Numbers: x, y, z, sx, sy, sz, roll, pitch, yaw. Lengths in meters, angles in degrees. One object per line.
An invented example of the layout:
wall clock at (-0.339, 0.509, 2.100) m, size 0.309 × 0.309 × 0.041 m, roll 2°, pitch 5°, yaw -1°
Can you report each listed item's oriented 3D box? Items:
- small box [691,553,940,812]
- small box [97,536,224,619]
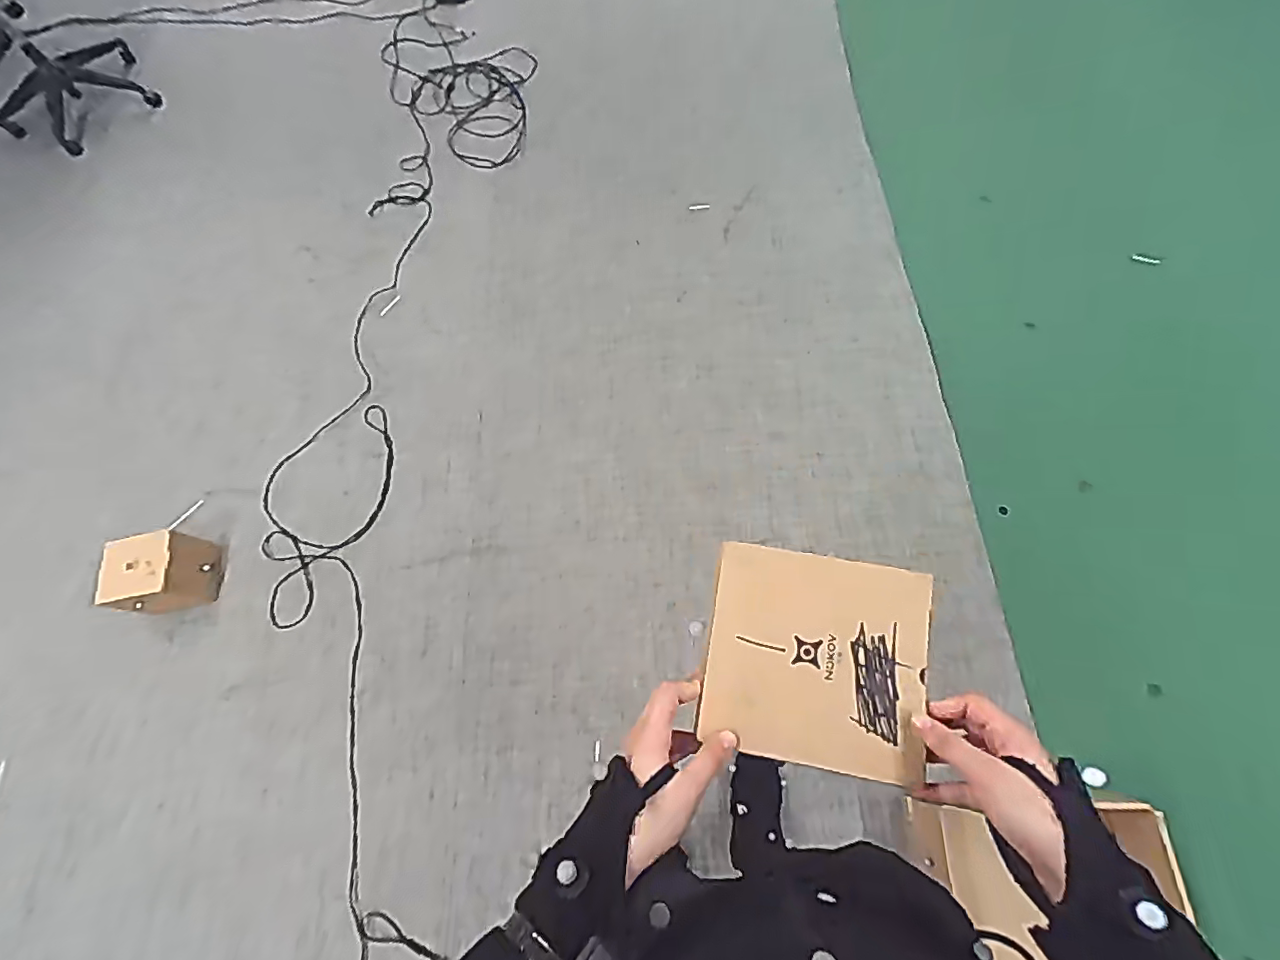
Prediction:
small box at (0.147, 0.173, 0.500) m, size 0.179 × 0.176 × 0.168 m, roll 9°, pitch 74°, yaw 9°
small box at (-1.262, 0.265, 1.435) m, size 0.179 × 0.176 × 0.168 m, roll -12°, pitch 68°, yaw 0°
